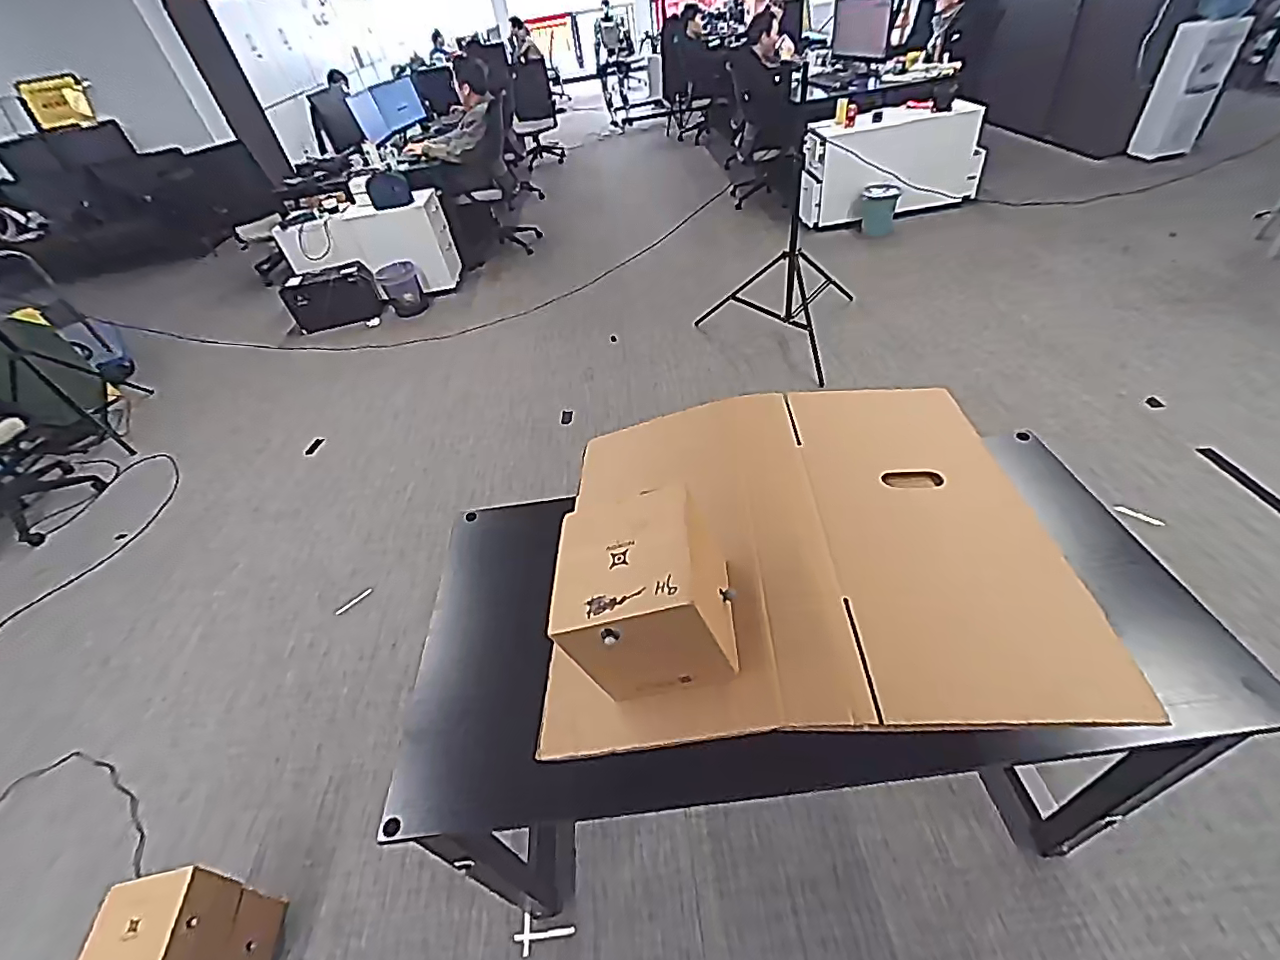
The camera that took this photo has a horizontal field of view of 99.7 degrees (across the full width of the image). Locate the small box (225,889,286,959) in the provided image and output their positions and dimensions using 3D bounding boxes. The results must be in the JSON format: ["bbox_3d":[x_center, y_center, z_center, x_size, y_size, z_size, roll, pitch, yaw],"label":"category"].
[{"bbox_3d":[-0.922,1.038,1.189,0.168,0.176,0.179,-11,43,-1],"label":"small box"}]

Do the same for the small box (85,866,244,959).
[{"bbox_3d":[-0.946,0.916,1.085,0.168,0.176,0.179,-13,41,-4],"label":"small box"}]

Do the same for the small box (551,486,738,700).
[{"bbox_3d":[0.013,0.141,0.664,0.168,0.176,0.179,-17,40,16],"label":"small box"}]
